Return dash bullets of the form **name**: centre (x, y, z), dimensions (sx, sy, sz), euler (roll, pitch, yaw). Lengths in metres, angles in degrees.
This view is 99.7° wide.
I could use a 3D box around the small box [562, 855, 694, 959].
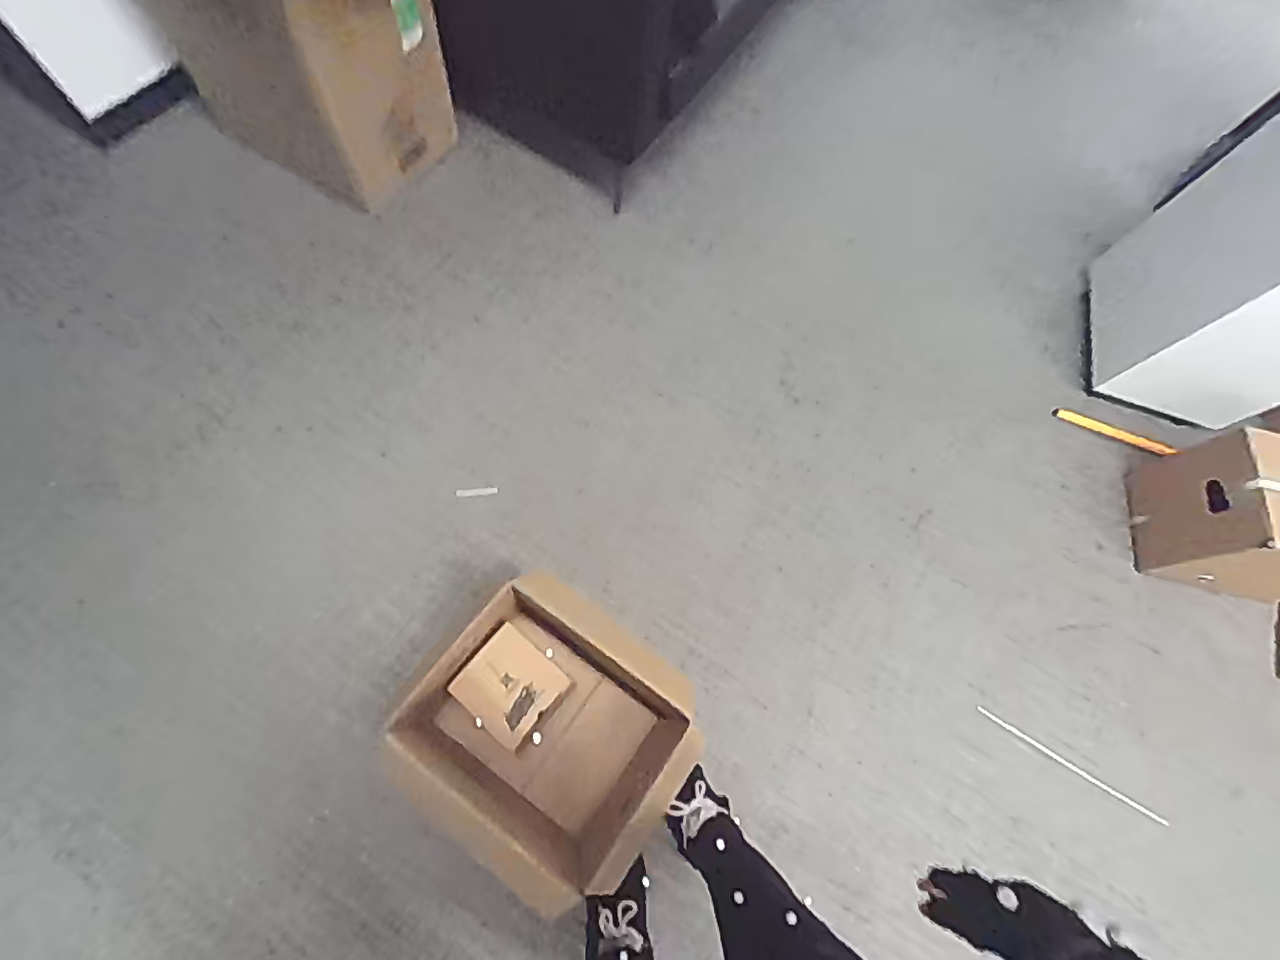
- **small box**: centre (-0.025, 0.853, 1.013), dimensions (0.179, 0.176, 0.168), euler (33, 77, 29)
